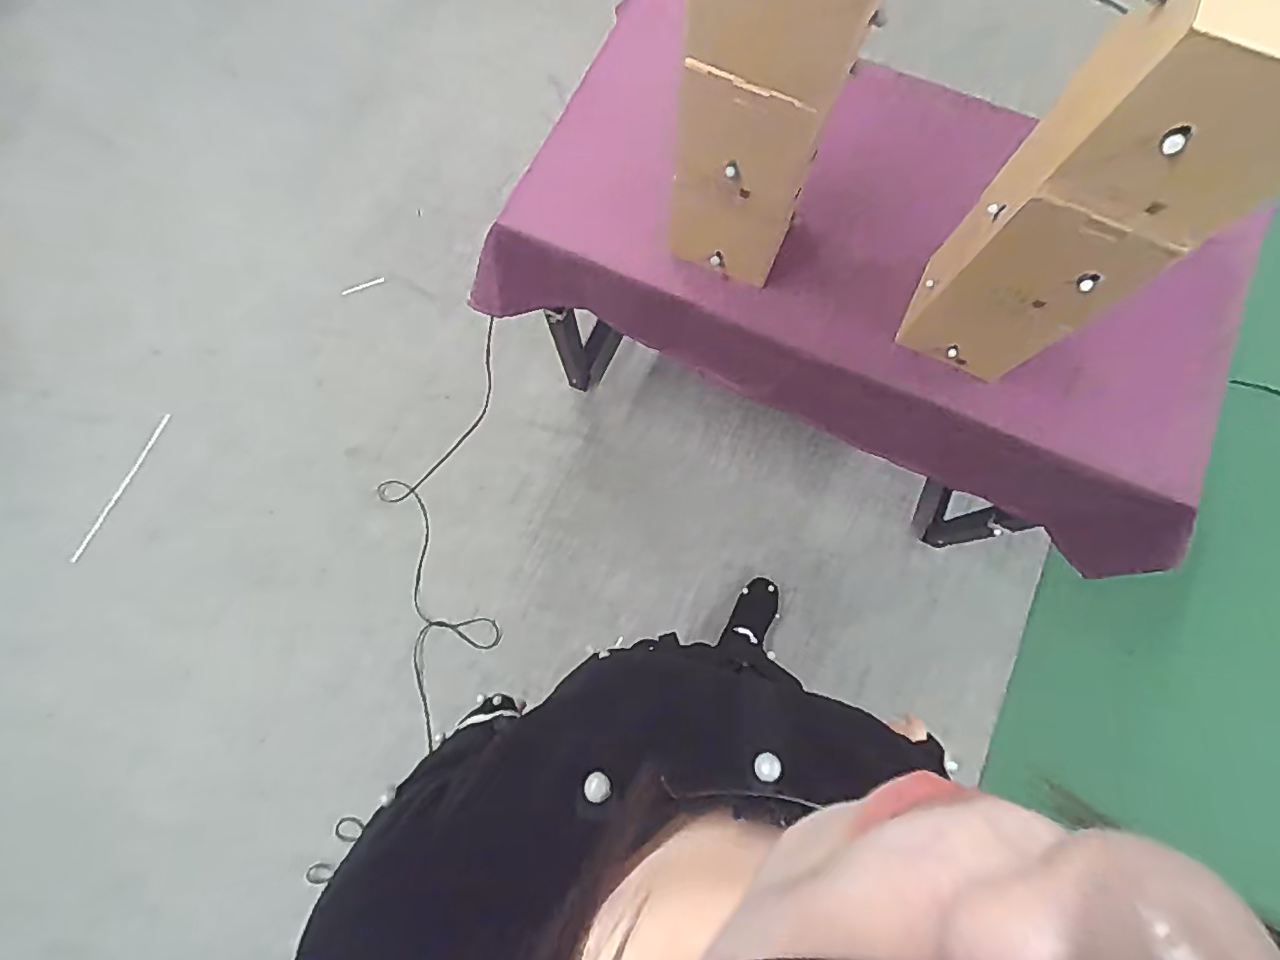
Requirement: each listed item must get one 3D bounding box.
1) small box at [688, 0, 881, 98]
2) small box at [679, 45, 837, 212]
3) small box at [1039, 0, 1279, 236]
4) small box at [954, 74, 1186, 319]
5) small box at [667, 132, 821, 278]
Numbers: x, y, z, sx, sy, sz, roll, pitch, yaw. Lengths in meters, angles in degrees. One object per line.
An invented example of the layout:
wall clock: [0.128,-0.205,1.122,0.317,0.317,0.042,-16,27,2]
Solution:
small box: [0.160,-0.529,0.534,0.179,0.176,0.168,26,78,5]
small box: [0.155,-0.493,0.694,0.168,0.176,0.179,24,78,6]
small box: [0.517,-0.366,0.497,0.168,0.176,0.179,25,78,6]
small box: [0.519,-0.328,0.655,0.168,0.176,0.179,25,78,6]
small box: [0.154,-0.451,0.854,0.179,0.176,0.168,23,78,5]
